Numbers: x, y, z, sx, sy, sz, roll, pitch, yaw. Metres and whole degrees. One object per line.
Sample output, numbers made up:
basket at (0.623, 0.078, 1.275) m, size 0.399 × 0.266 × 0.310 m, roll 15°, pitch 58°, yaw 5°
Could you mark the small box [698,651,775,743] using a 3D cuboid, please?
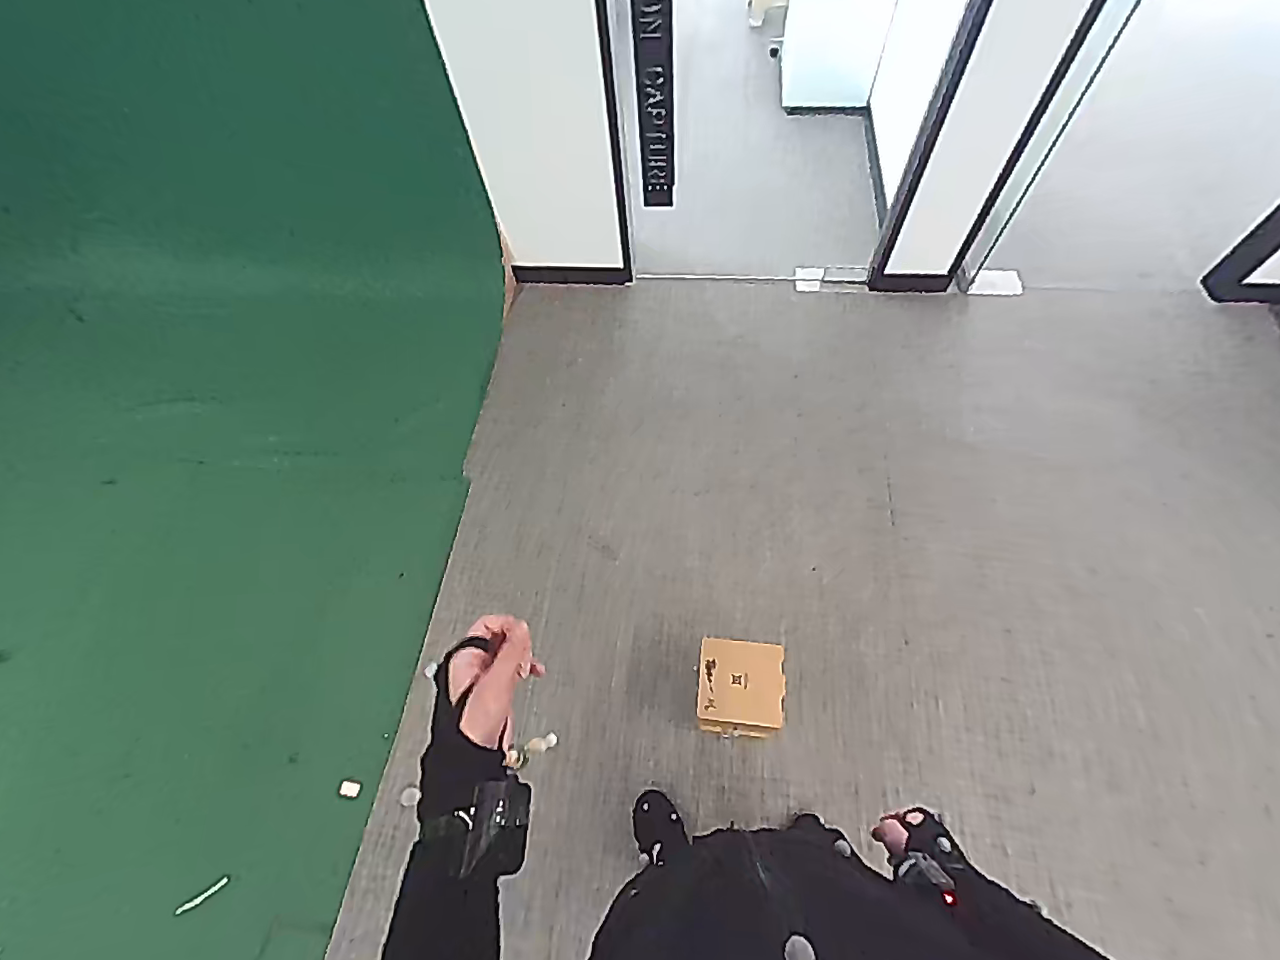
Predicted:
small box at (0.234, 0.535, 1.327) m, size 0.168 × 0.176 × 0.179 m, roll 5°, pitch 62°, yaw 10°
